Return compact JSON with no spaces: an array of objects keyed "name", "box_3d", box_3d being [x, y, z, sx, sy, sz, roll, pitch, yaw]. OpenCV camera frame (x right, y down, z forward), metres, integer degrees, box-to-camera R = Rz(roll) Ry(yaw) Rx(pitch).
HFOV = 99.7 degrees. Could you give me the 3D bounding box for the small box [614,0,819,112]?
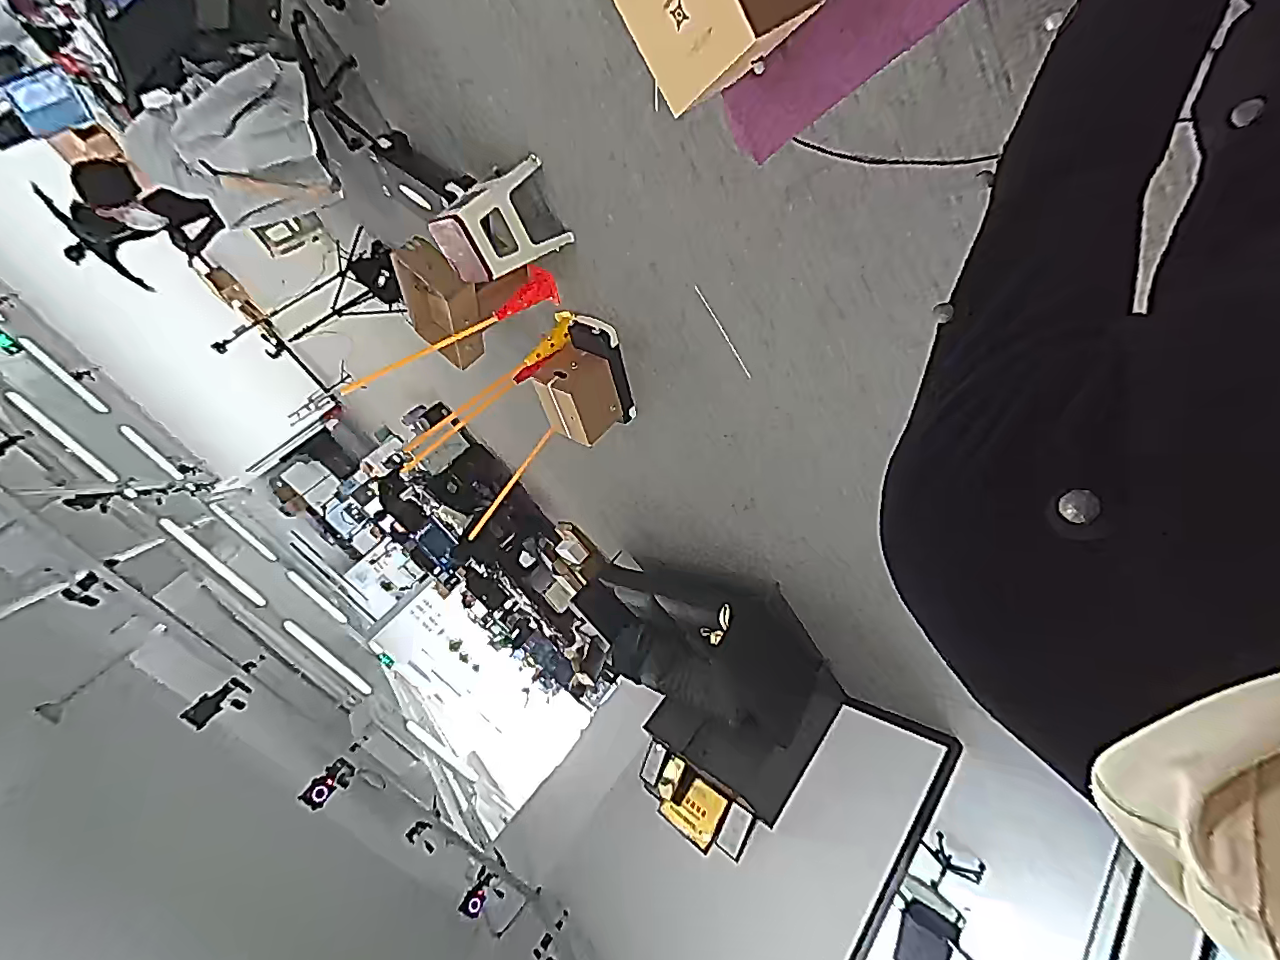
[{"name":"small box","box_3d":[0.097,-0.636,0.701,0.179,0.176,0.168,54,155,-21]}]
